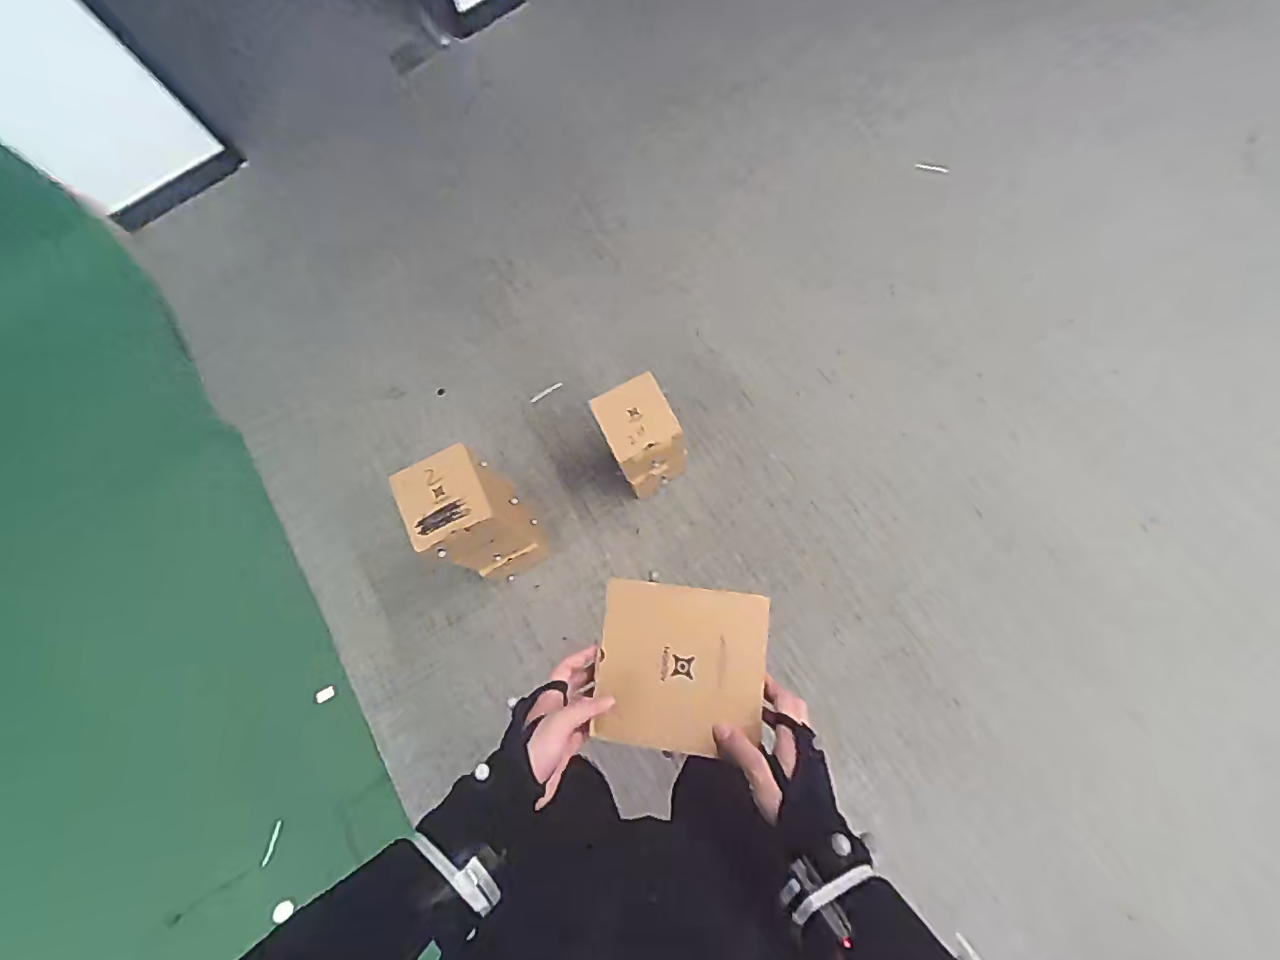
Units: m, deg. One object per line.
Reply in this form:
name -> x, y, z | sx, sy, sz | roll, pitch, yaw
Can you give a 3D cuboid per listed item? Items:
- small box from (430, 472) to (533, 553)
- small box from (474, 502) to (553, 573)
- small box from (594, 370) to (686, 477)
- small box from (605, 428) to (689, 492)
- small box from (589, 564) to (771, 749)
small box -> -0.378, 0.085, 1.313 | 0.179, 0.176, 0.168 | 4, 77, 7
small box -> -0.353, 0.139, 1.456 | 0.168, 0.176, 0.179 | -27, 73, -3
small box -> 0.004, -0.132, 1.323 | 0.168, 0.176, 0.179 | -25, 74, -1
small box -> 0.024, -0.082, 1.479 | 0.168, 0.176, 0.179 | -29, 75, -3
small box -> 0.052, 0.195, 0.638 | 0.179, 0.176, 0.168 | 6, 79, 8
